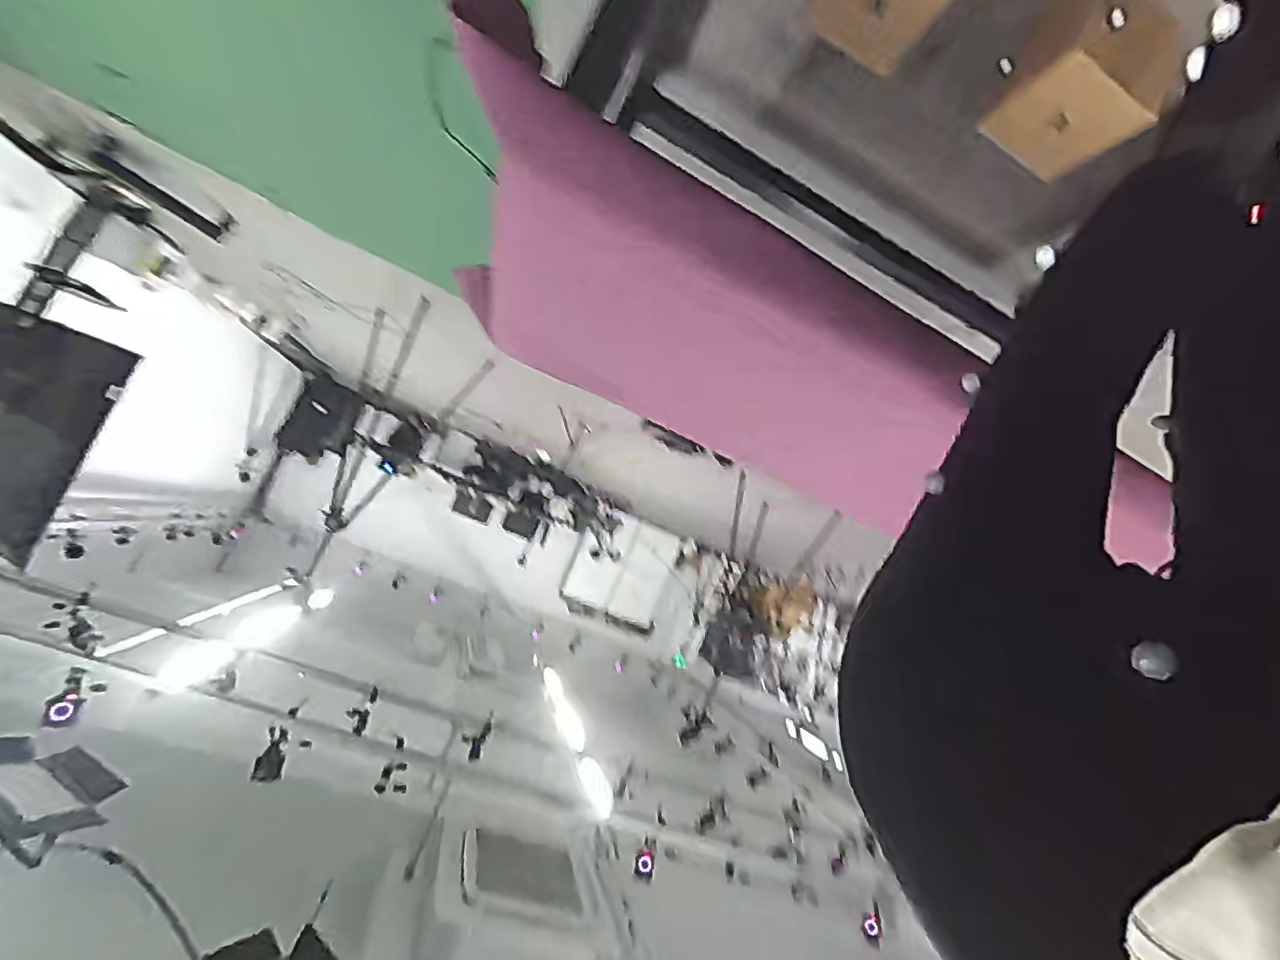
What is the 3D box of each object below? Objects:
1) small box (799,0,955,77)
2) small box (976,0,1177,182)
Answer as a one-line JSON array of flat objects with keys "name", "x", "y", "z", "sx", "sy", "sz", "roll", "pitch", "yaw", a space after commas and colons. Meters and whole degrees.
[{"name": "small box", "x": 0.374, "y": -0.766, "z": 0.797, "sx": 0.179, "sy": 0.176, "sz": 0.168, "roll": 25, "pitch": 170, "yaw": -10}, {"name": "small box", "x": 0.682, "y": -0.628, "z": 0.852, "sx": 0.179, "sy": 0.176, "sz": 0.168, "roll": 24, "pitch": 171, "yaw": -13}]
